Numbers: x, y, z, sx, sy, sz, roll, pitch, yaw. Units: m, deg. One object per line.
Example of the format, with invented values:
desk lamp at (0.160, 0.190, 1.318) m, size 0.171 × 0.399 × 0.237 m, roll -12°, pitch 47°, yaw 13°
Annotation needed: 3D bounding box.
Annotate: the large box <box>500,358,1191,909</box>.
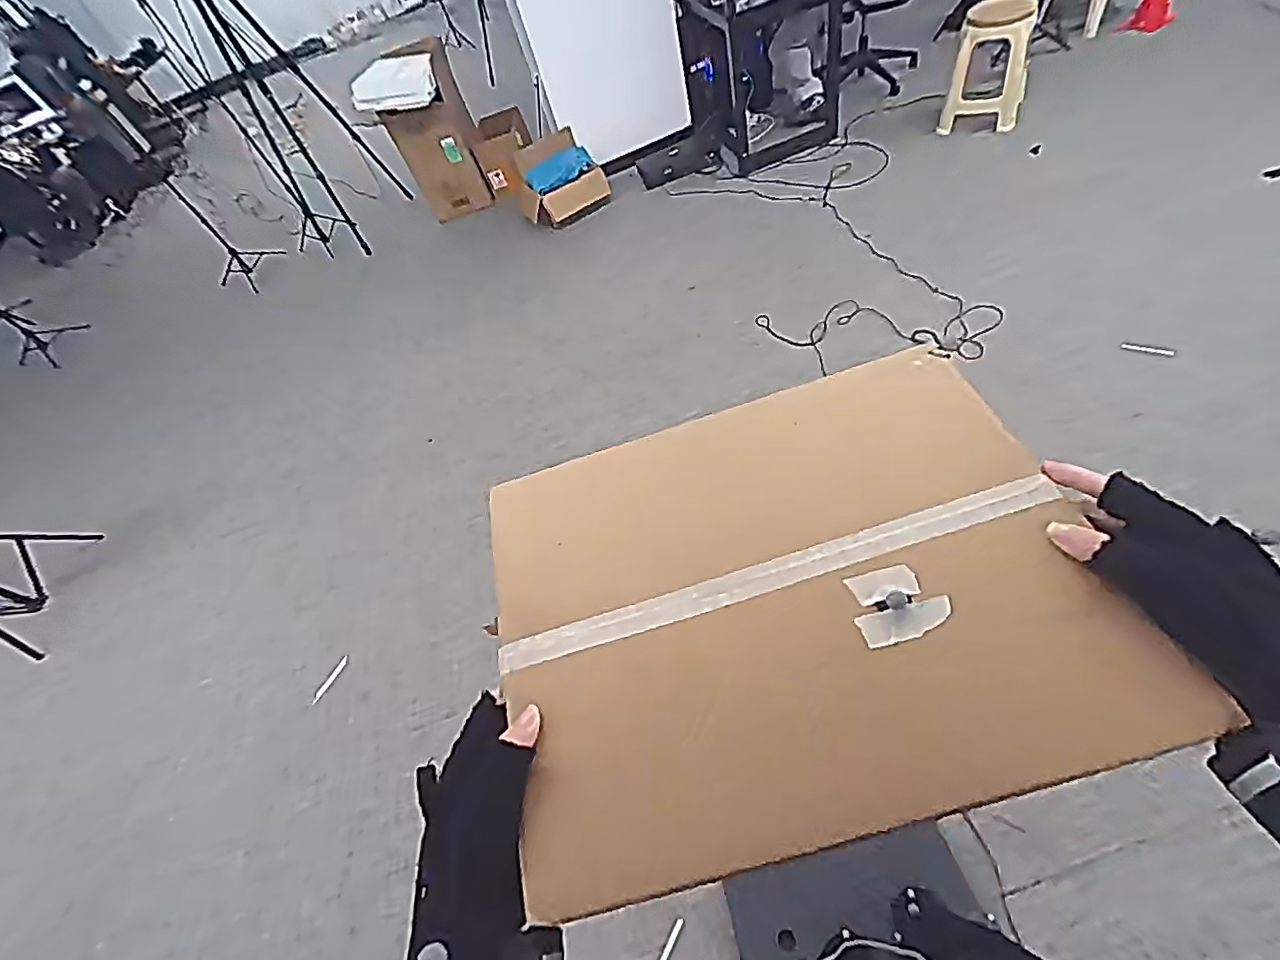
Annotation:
large box at (0.125, 0.154, 0.521) m, size 0.408 × 0.320 × 0.320 m, roll -18°, pitch 56°, yaw 3°
